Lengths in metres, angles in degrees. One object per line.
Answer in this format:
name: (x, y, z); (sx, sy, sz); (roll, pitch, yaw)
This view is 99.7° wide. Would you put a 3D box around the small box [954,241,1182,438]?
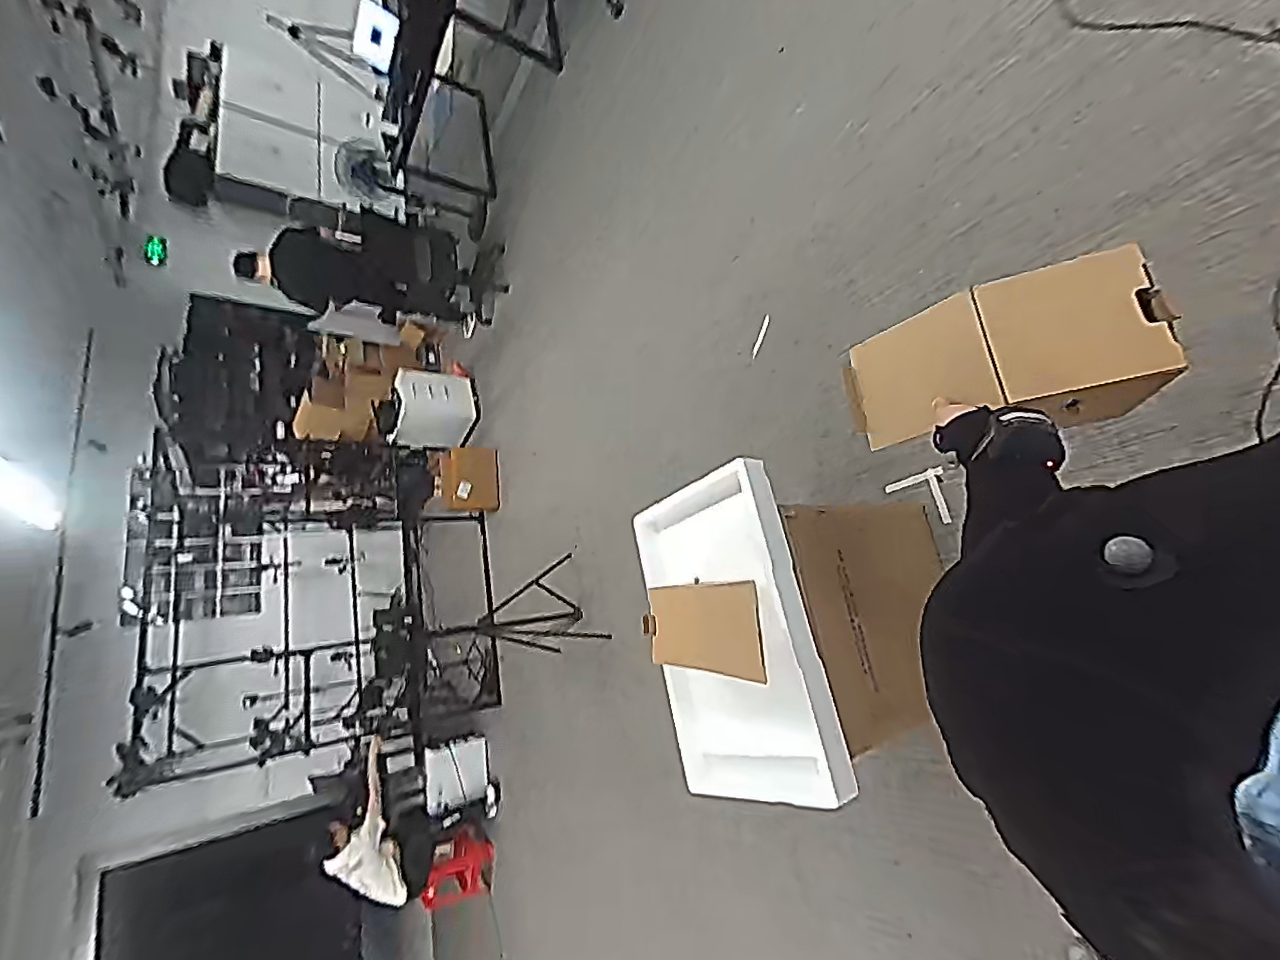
small box: (0.524, -0.164, 0.698); (0.179, 0.176, 0.168); (-12, 74, 20)
